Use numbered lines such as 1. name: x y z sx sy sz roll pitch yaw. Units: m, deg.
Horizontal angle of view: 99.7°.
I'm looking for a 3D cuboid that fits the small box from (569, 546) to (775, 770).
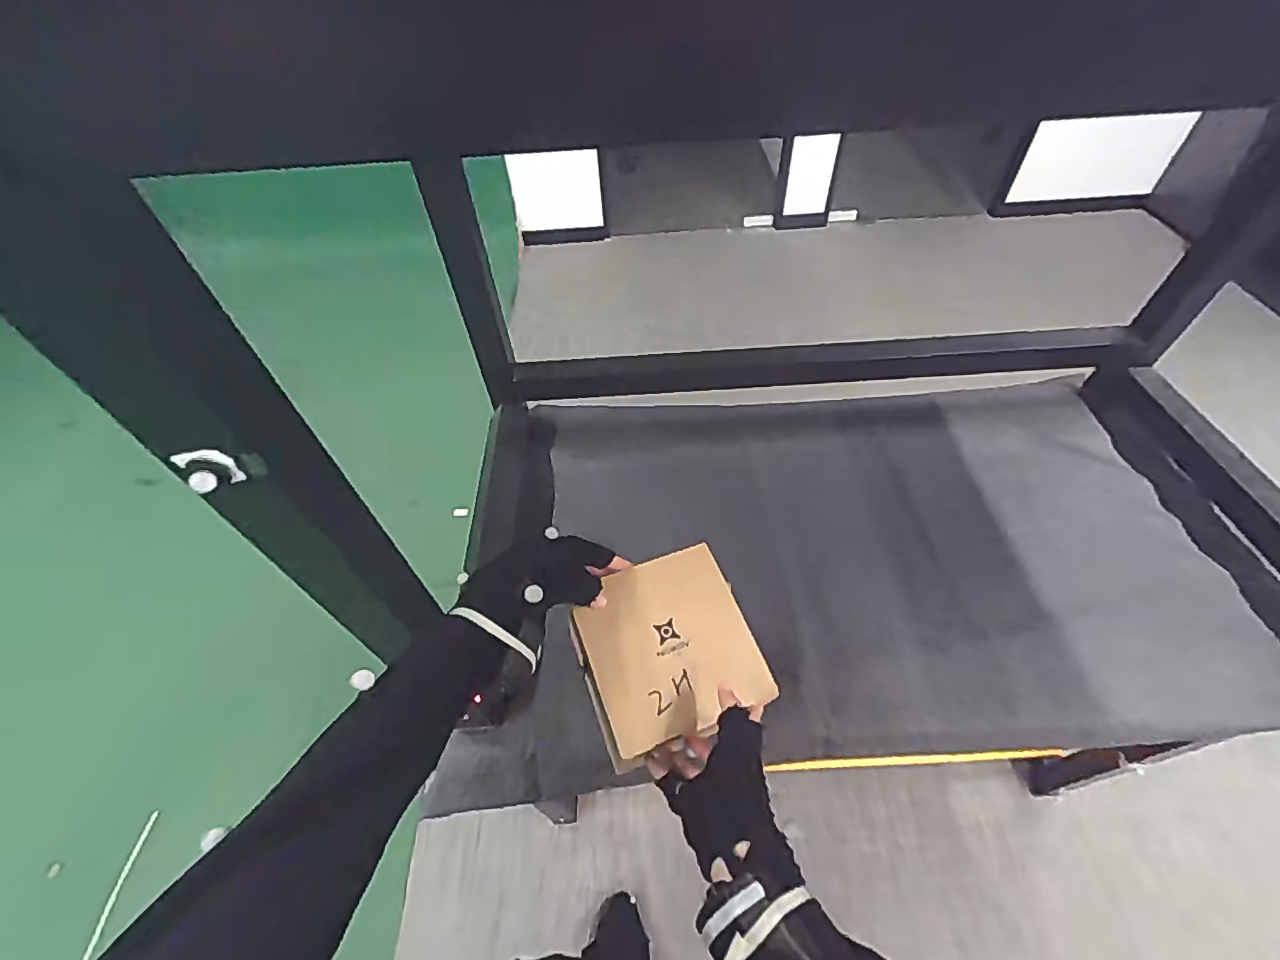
1. small box: 0.022 0.206 0.617 0.168 0.176 0.179 -16 61 -13
